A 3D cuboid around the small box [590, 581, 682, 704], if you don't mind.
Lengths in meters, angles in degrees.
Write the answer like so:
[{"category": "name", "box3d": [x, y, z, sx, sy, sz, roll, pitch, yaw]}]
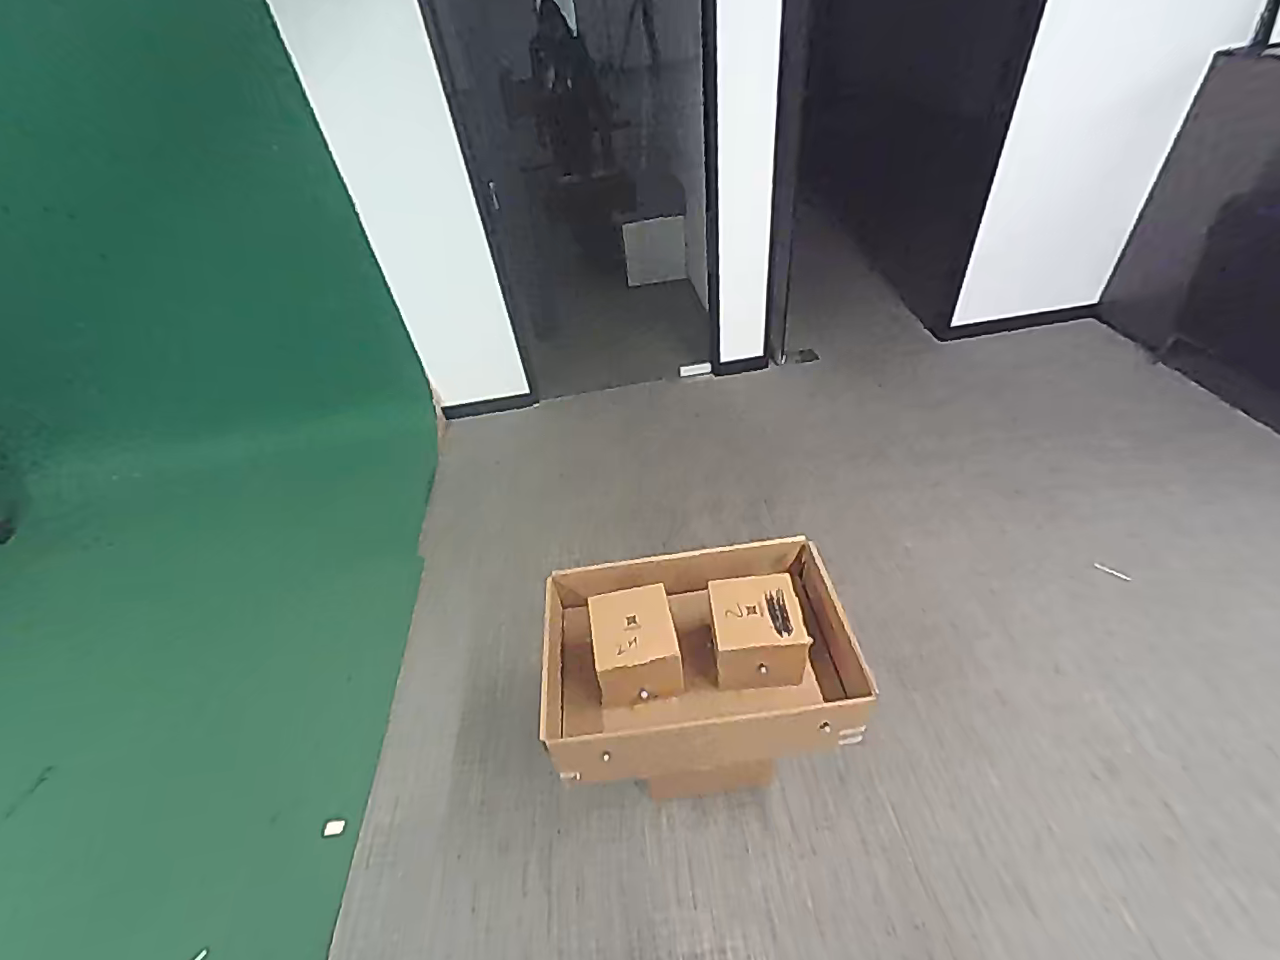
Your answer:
[{"category": "small box", "box3d": [-0.008, 0.343, 1.142, 0.168, 0.176, 0.179, -10, 42, -3]}]
